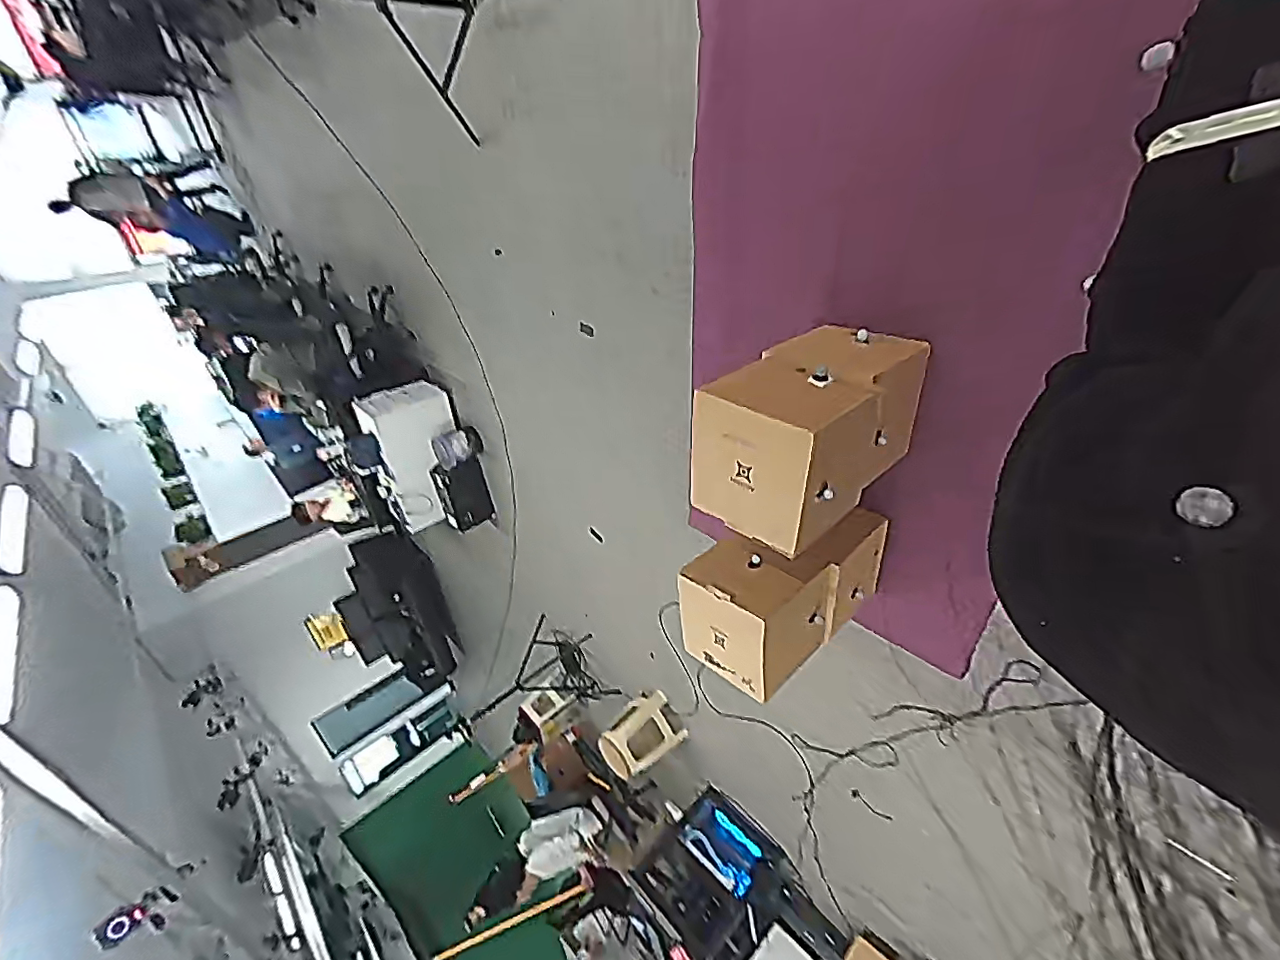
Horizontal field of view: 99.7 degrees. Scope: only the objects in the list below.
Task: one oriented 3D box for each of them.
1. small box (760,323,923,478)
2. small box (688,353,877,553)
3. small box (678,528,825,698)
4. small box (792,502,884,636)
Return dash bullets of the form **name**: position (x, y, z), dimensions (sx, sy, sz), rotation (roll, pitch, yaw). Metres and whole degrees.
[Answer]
- **small box**: position (0.288, -0.115, 0.796), dimensions (0.168, 0.176, 0.179), rotation (27, 132, 40)
- **small box**: position (0.180, -0.044, 0.699), dimensions (0.168, 0.176, 0.179), rotation (28, 133, 37)
- **small box**: position (0.181, 0.200, 0.872), dimensions (0.168, 0.176, 0.179), rotation (24, 131, 43)
- **small box**: position (0.305, 0.132, 0.956), dimensions (0.179, 0.176, 0.168), rotation (26, 133, 41)
